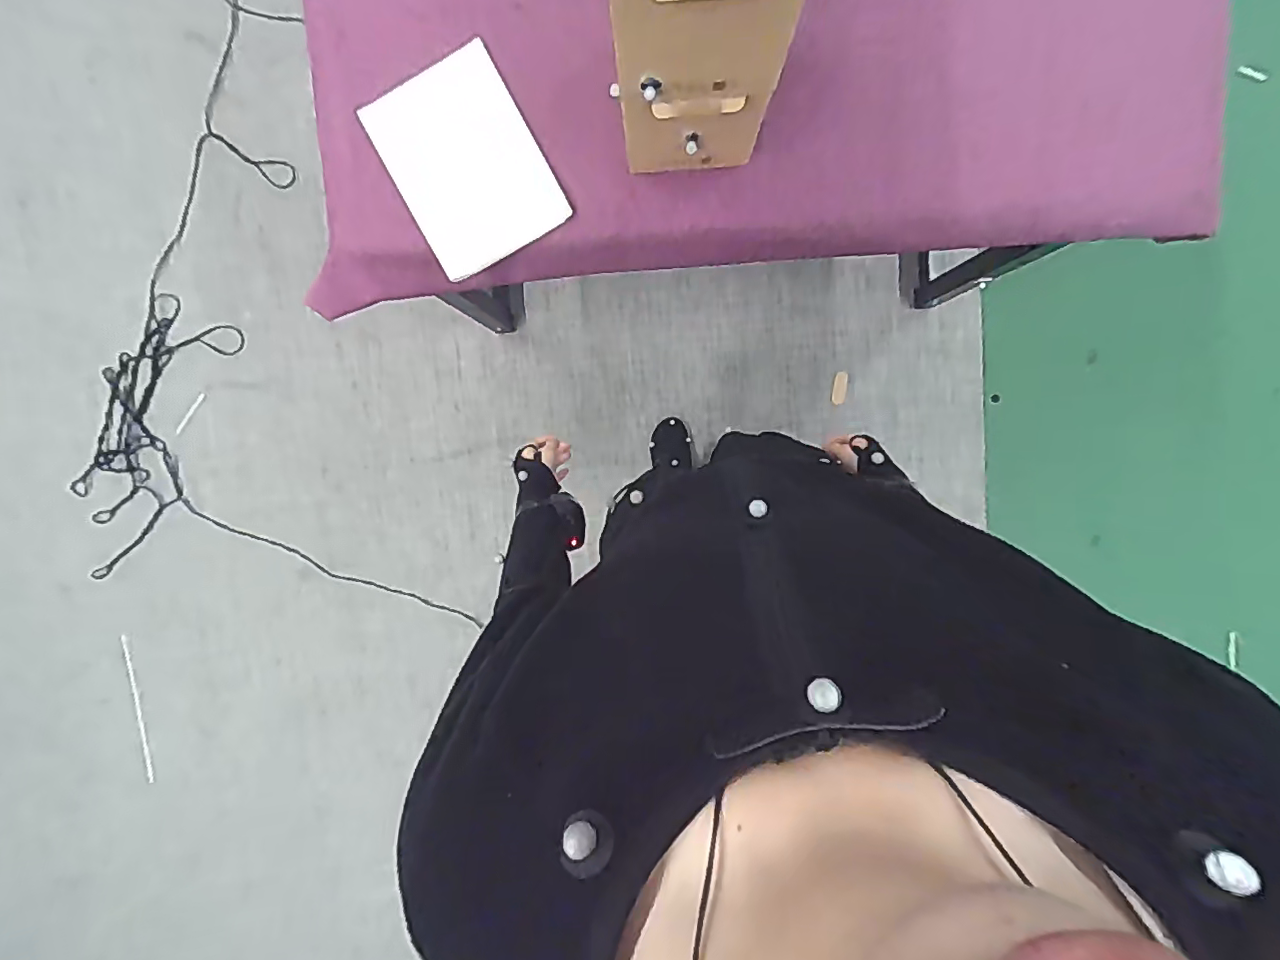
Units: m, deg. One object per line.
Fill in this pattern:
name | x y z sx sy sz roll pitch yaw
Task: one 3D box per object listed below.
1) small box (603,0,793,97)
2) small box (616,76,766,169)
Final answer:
small box | 0.051 -0.486 0.495 0.168 0.176 0.179 -2 93 2
small box | 0.056 -0.504 0.660 0.168 0.176 0.179 -3 95 2
